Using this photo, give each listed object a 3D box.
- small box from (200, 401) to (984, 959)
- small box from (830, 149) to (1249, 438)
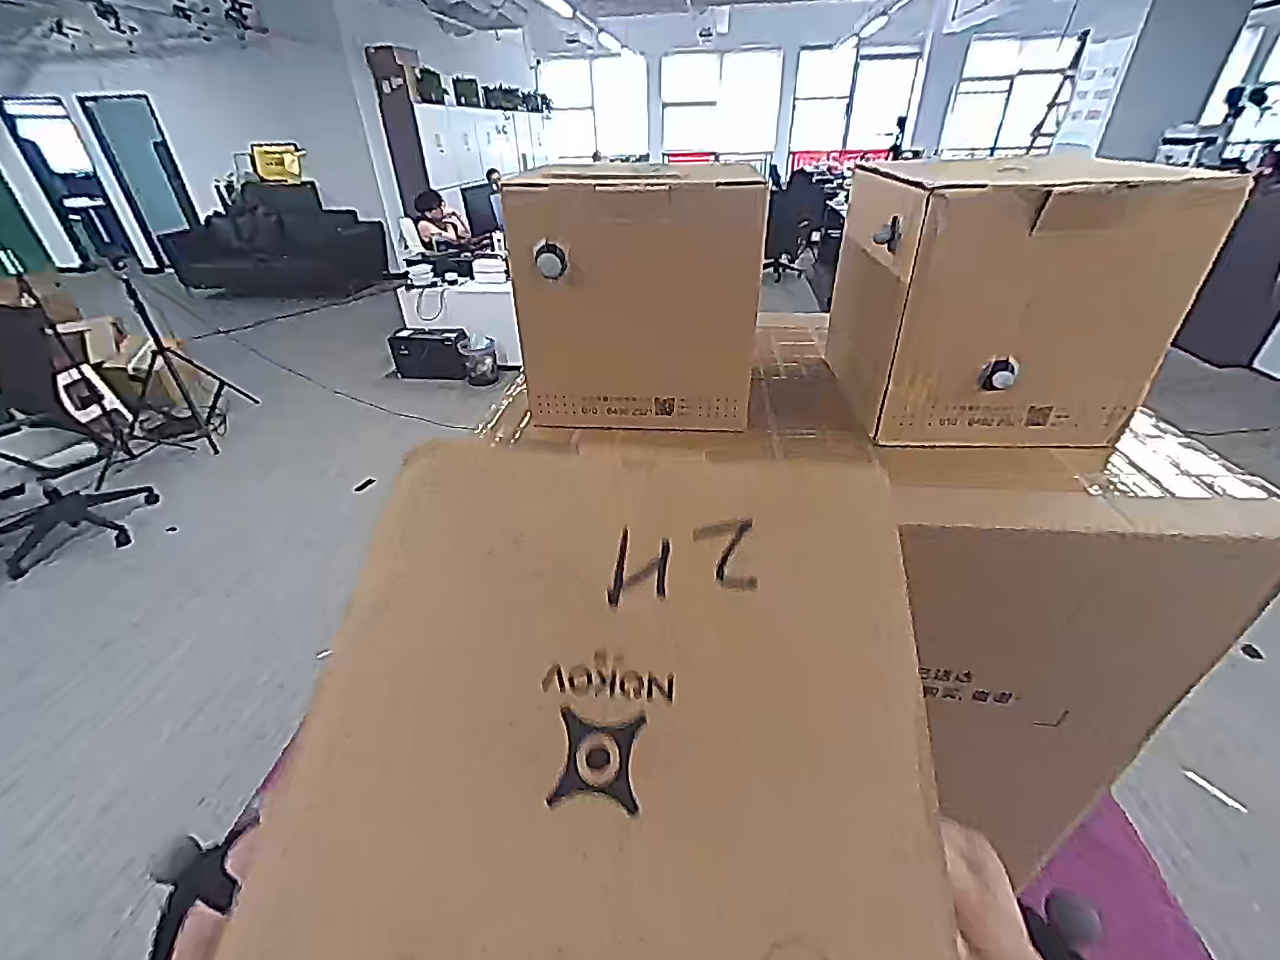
[{"bbox_3d":[-0.003,0.092,0.209,0.168,0.176,0.179,4,60,4],"label":"small box"},{"bbox_3d":[0.253,-0.146,0.407,0.168,0.176,0.179,0,34,4],"label":"small box"}]
